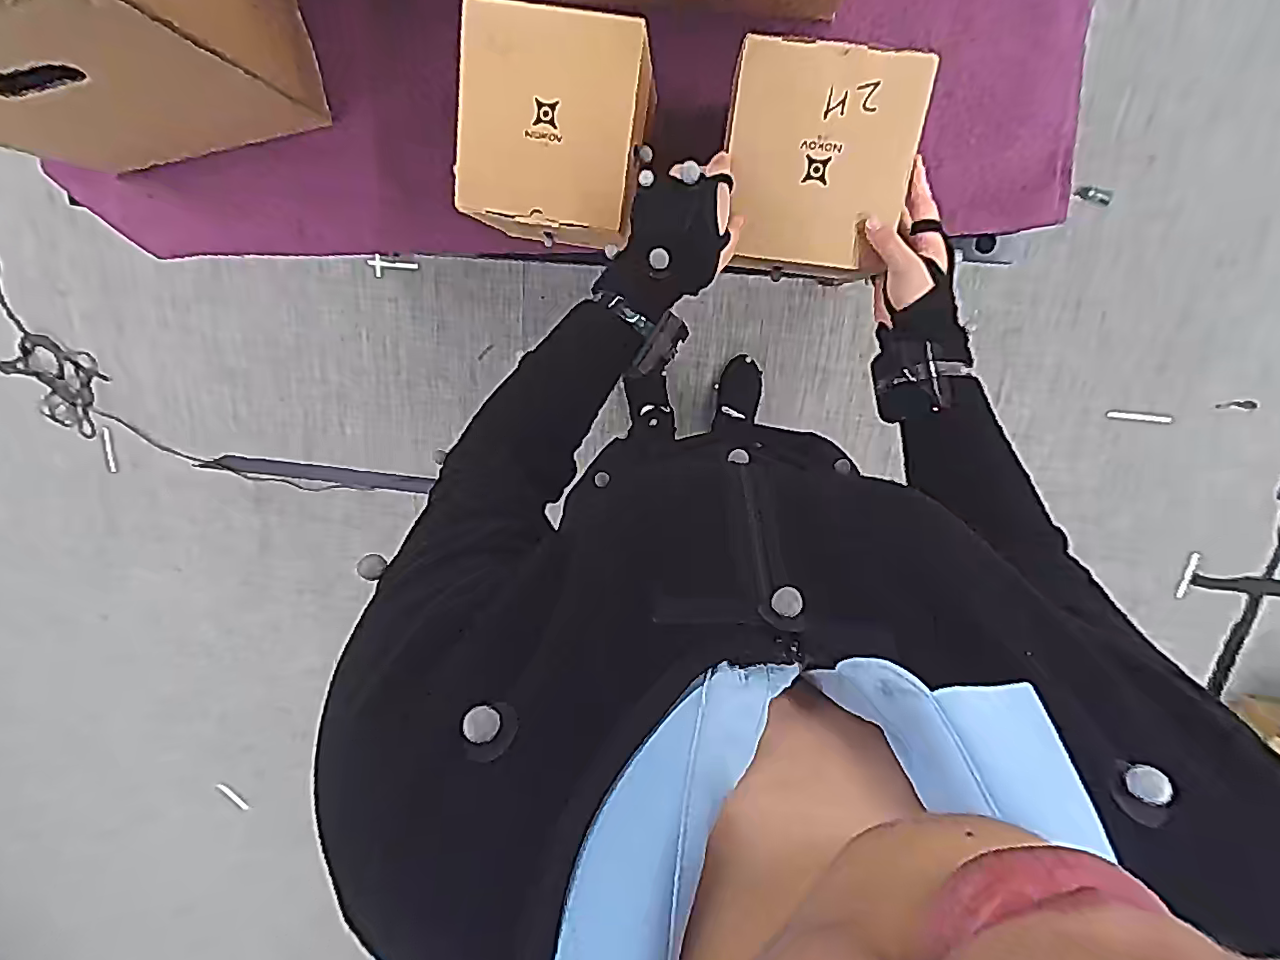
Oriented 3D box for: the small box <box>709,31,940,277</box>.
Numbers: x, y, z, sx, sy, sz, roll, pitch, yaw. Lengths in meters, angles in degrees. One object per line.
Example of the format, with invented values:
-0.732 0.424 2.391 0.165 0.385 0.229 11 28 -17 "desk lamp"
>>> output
0.166 -0.311 0.555 0.168 0.176 0.179 8 109 1 "small box"
